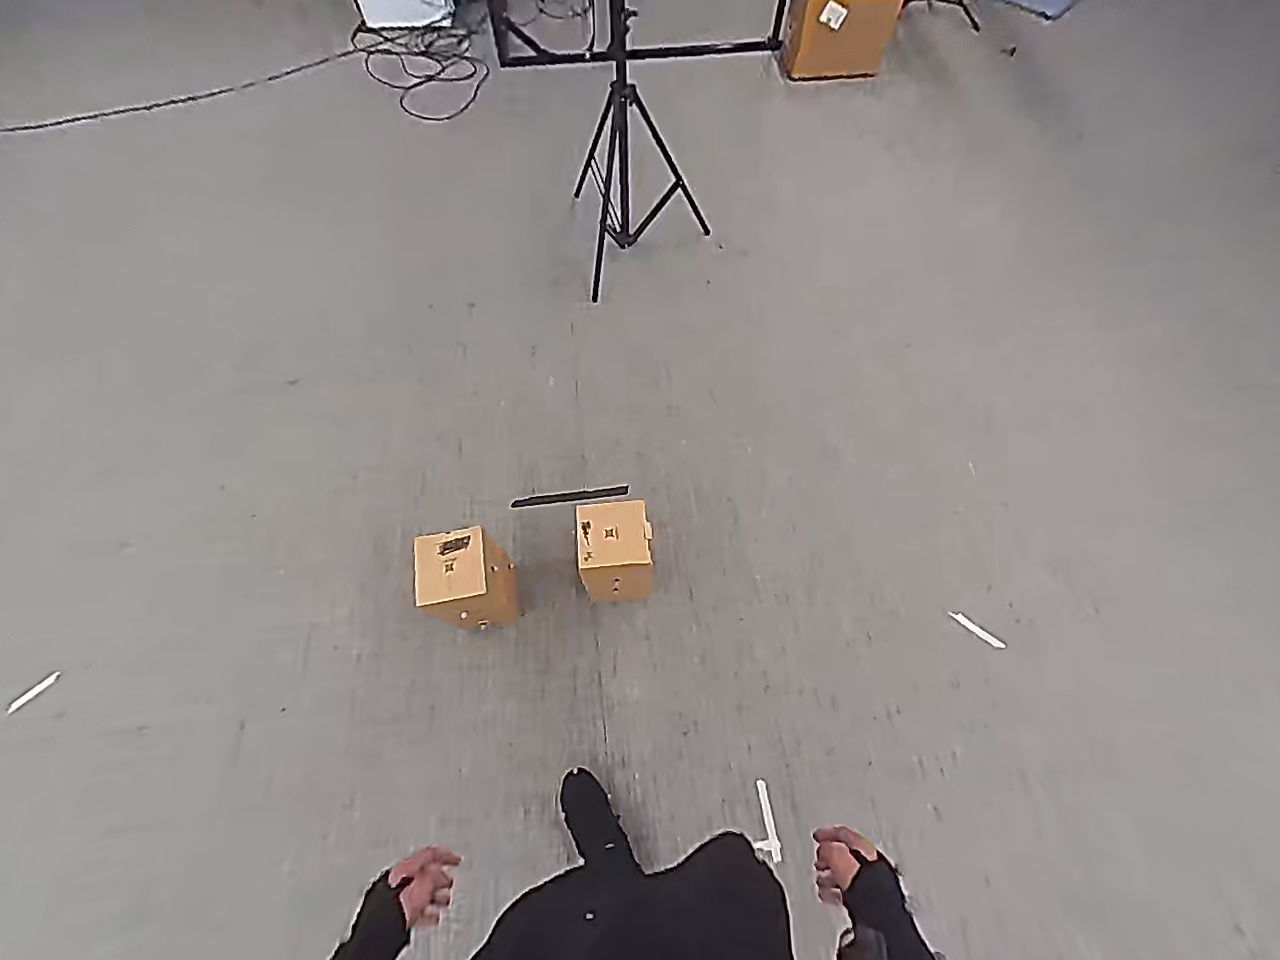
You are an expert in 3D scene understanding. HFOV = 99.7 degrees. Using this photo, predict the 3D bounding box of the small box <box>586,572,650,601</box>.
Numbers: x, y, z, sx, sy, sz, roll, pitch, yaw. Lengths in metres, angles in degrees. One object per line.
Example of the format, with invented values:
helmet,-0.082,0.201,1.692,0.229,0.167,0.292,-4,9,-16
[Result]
small box,-0.064,0.241,1.538,0.179,0.176,0.168,-4,65,-3

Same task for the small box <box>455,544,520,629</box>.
small box,-0.439,0.301,1.510,0.168,0.176,0.179,-11,65,-5

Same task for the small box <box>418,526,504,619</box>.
small box,-0.447,0.236,1.360,0.168,0.176,0.179,-10,65,-4

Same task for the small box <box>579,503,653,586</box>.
small box,-0.064,0.169,1.390,0.179,0.176,0.168,-3,64,-3
